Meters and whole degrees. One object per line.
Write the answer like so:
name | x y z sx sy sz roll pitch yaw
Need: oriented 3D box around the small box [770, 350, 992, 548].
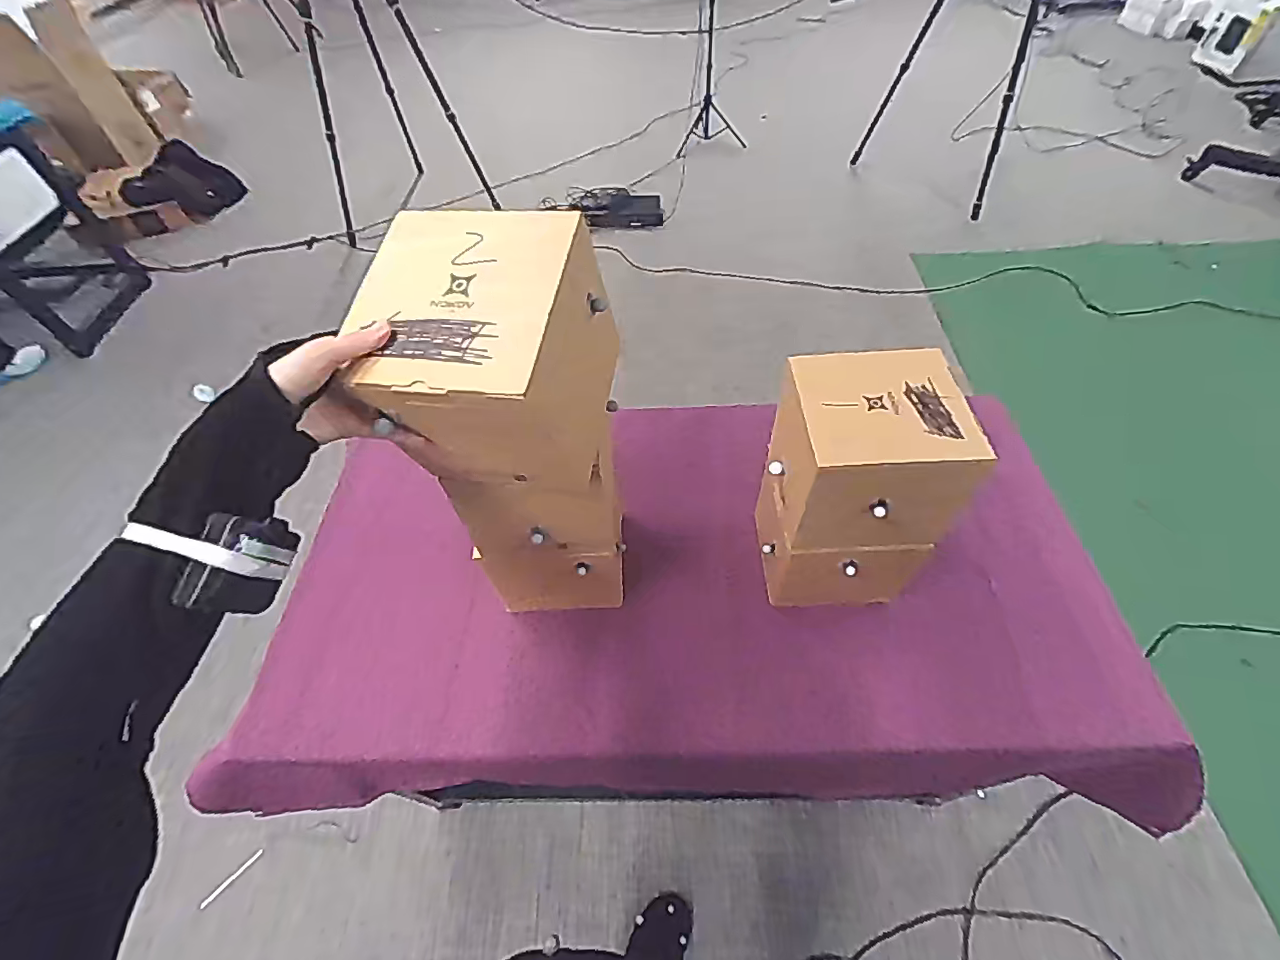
small box | 0.262 -0.031 0.641 0.179 0.176 0.168 -3 53 3

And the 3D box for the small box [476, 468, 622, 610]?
small box | -0.119 0.080 0.788 0.179 0.176 0.168 -3 52 0

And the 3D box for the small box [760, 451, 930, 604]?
small box | 0.272 0.069 0.770 0.179 0.176 0.168 -2 53 2

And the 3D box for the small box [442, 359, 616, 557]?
small box | -0.120 -0.024 0.660 0.168 0.176 0.179 -4 52 1
